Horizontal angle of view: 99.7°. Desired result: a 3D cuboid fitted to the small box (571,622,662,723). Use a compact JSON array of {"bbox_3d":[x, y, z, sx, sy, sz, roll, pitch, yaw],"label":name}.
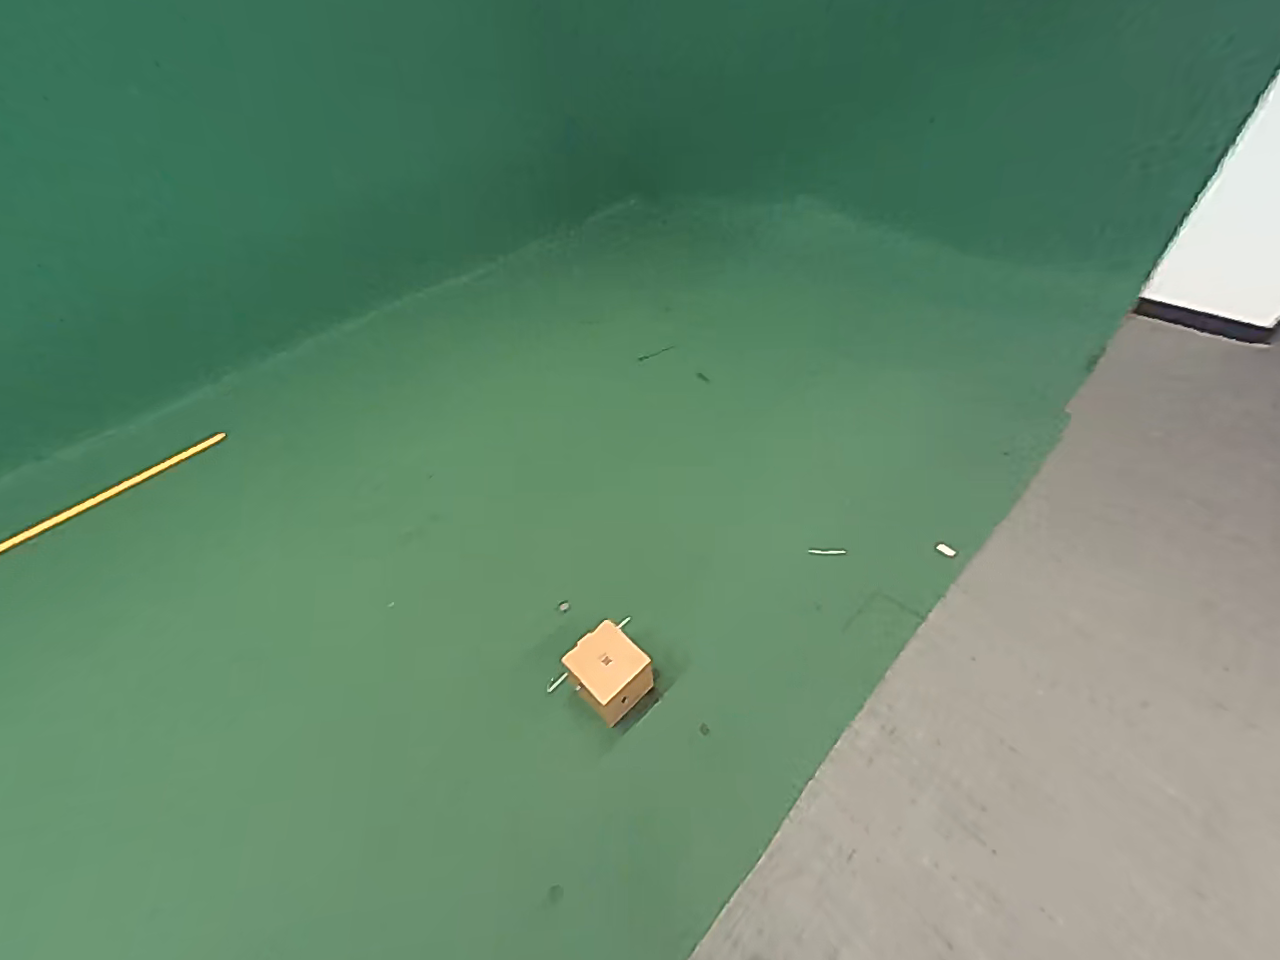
[{"bbox_3d":[-0.057,0.530,1.471,0.168,0.176,0.179,-38,52,-24],"label":"small box"}]
